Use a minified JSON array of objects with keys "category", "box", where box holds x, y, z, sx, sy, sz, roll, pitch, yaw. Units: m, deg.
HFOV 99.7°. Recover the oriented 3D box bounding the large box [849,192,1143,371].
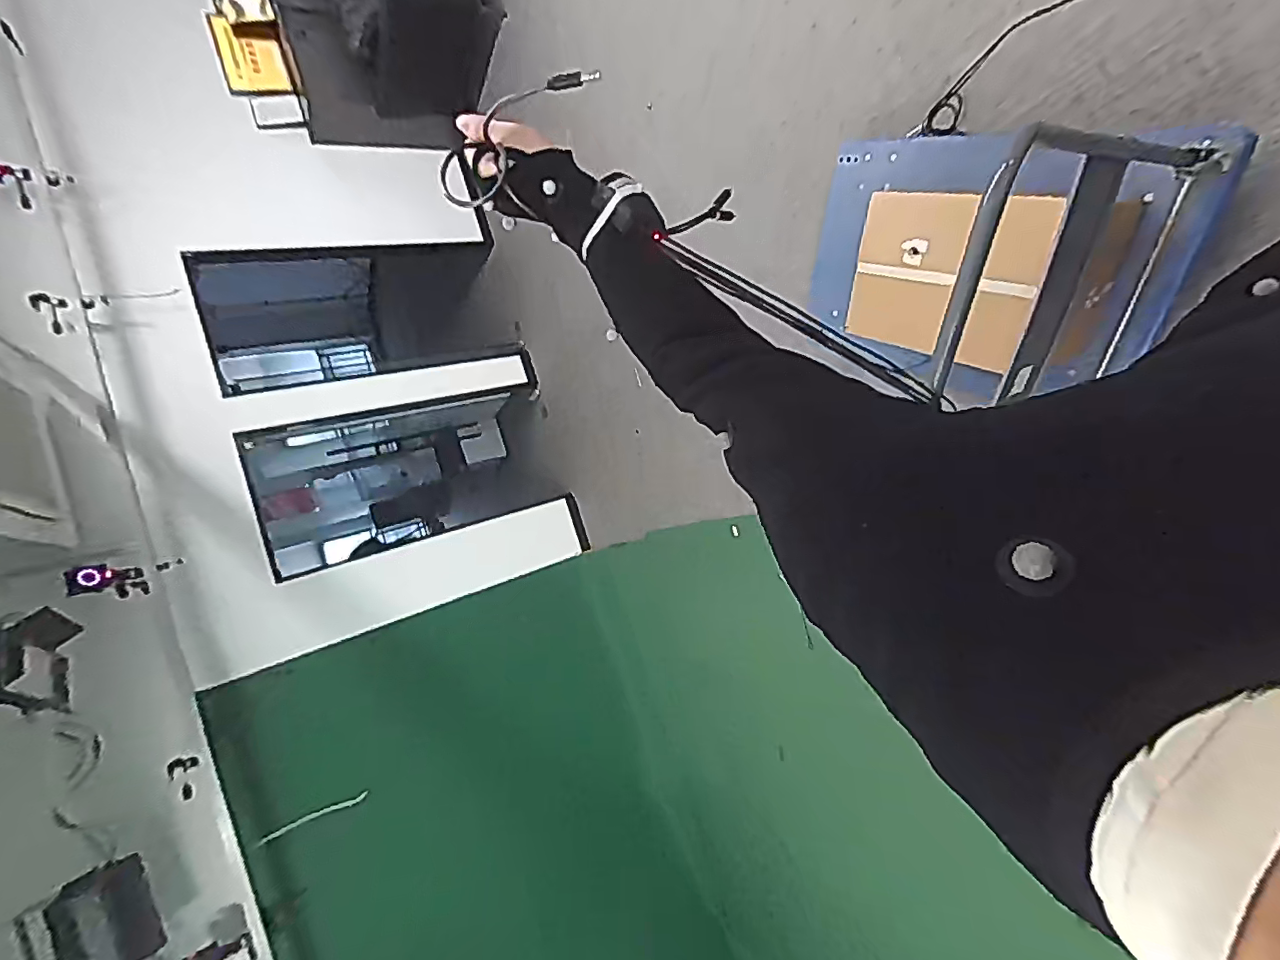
[{"category":"large box","box":[0.750,-0.458,1.191,0.408,0.320,0.320,37,134,47]}]
